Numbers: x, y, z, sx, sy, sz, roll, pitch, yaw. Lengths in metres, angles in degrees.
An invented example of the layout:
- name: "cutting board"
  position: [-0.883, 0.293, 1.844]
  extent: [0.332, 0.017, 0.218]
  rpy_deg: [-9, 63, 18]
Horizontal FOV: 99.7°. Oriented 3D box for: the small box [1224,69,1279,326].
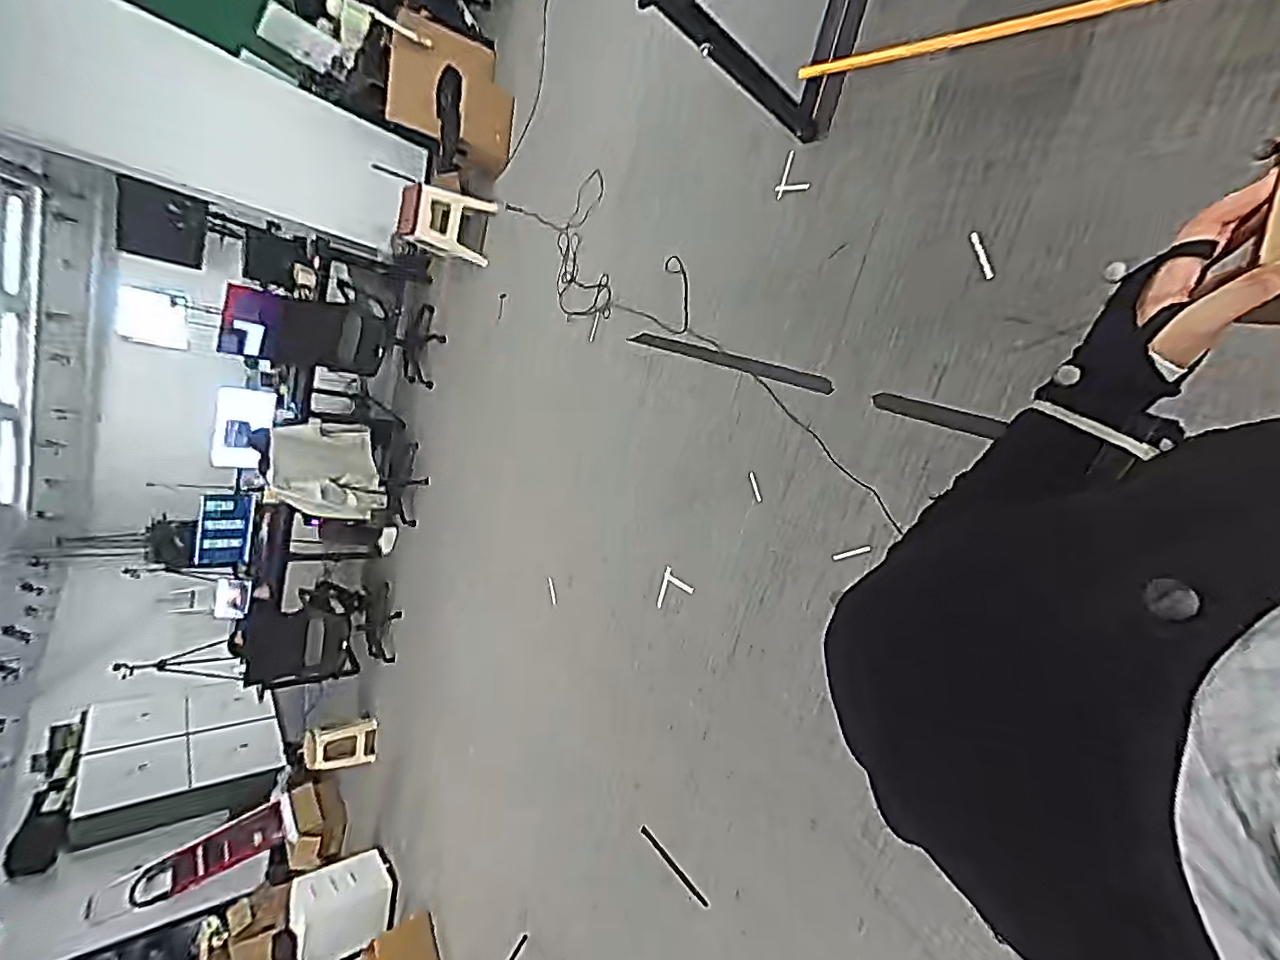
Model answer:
- name: "small box"
  position: [0.510, -0.207, 0.344]
  extent: [0.168, 0.176, 0.179]
  rpy_deg: [12, 98, 43]
